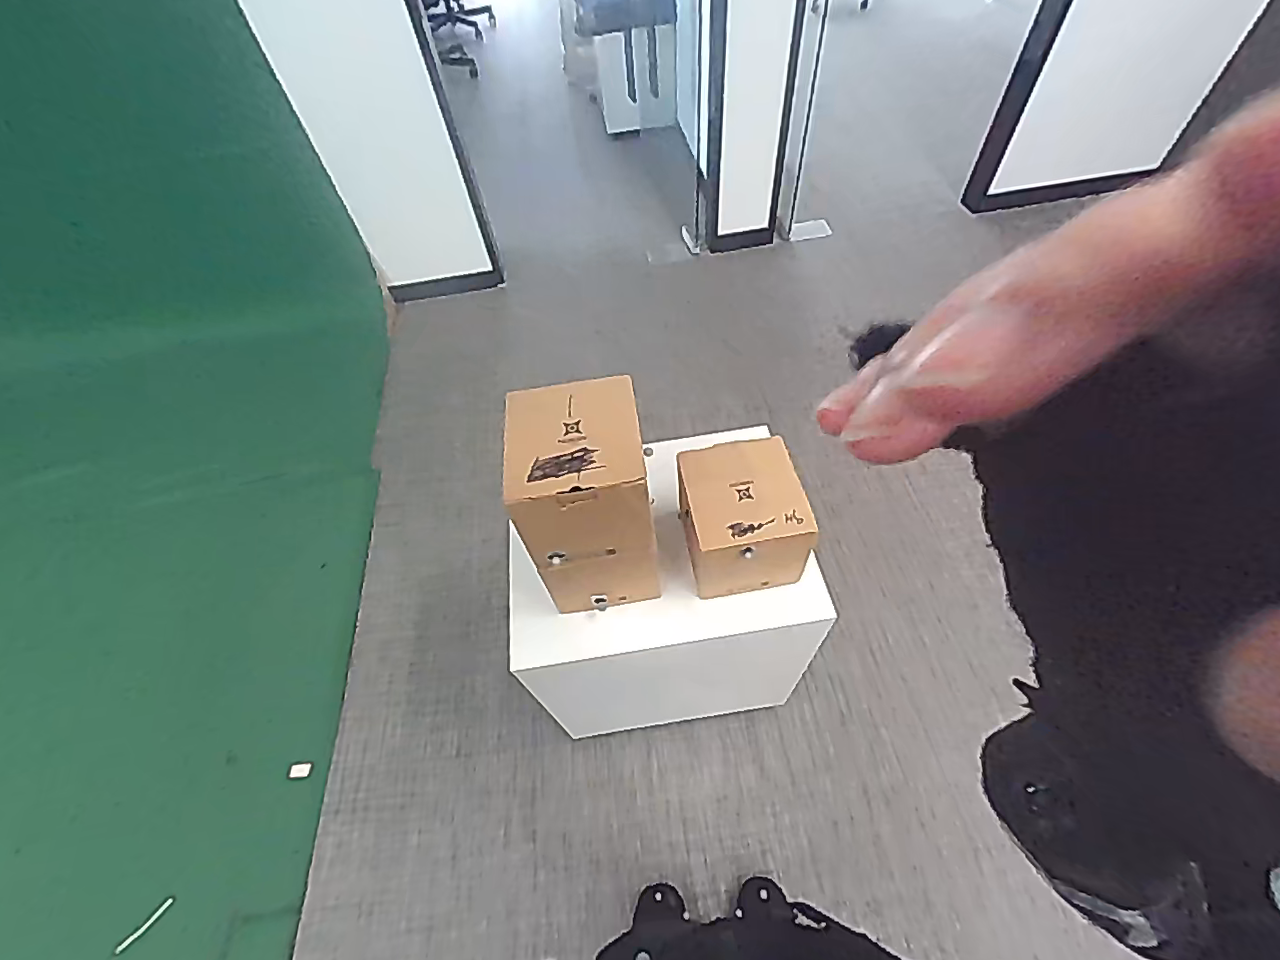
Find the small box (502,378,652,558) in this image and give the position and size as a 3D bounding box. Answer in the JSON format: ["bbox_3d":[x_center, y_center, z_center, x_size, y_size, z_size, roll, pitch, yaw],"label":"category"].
[{"bbox_3d":[-0.077,-0.008,0.726,0.168,0.176,0.179,-8,53,0],"label":"small box"}]

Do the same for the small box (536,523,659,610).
[{"bbox_3d":[-0.067,0.080,0.845,0.168,0.176,0.179,-10,55,-2],"label":"small box"}]

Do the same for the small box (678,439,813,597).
[{"bbox_3d":[0.153,0.062,0.853,0.168,0.176,0.179,-9,53,-1],"label":"small box"}]
